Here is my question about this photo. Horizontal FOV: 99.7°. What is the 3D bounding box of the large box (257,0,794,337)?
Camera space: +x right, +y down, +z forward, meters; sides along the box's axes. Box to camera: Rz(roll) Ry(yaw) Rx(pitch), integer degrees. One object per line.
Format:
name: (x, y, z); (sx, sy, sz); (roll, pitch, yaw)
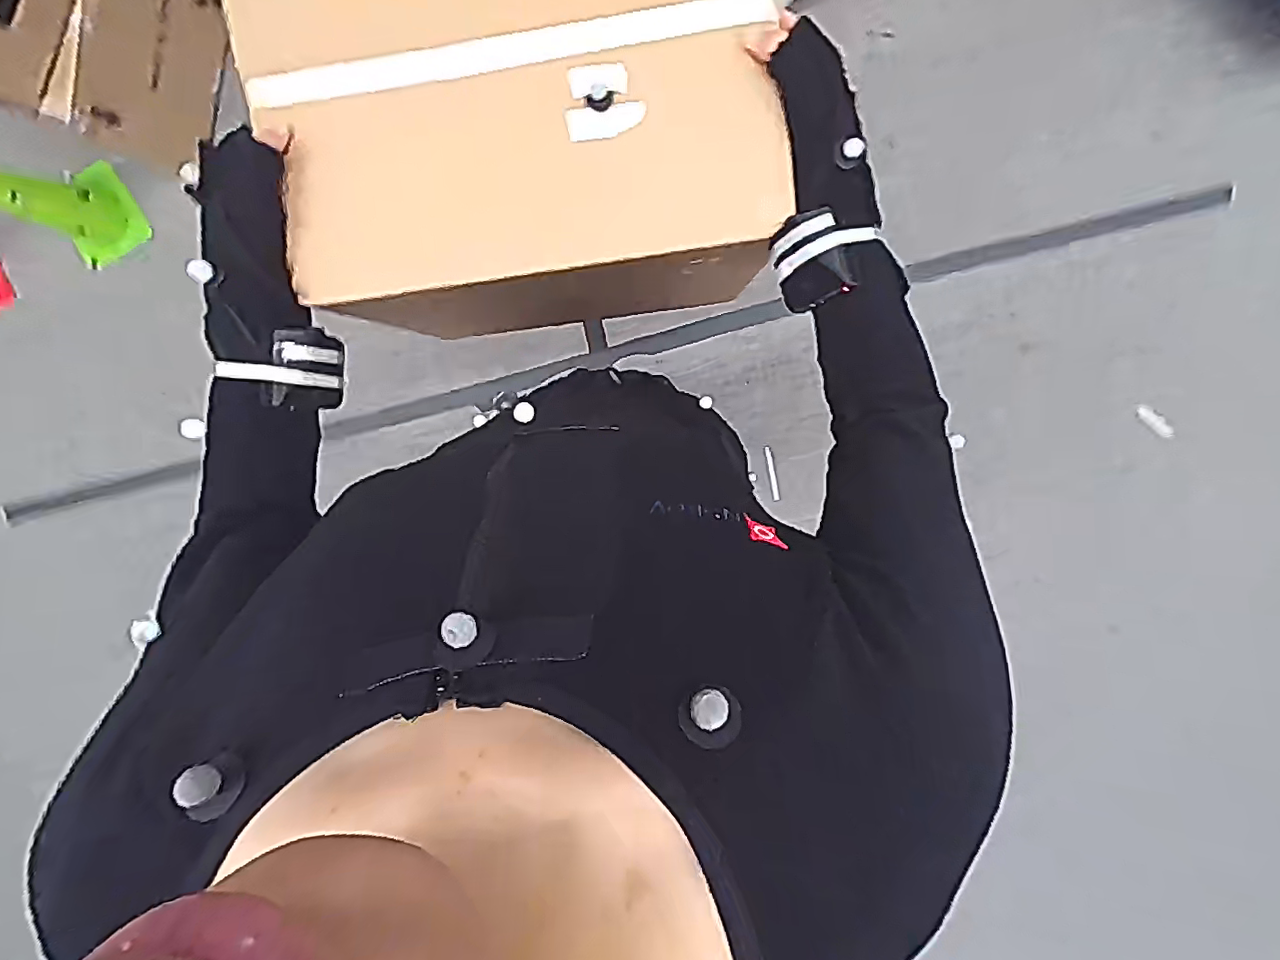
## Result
large box: (-0.090, -0.351, 0.569); (0.408, 0.320, 0.320); (-7, 99, 2)
